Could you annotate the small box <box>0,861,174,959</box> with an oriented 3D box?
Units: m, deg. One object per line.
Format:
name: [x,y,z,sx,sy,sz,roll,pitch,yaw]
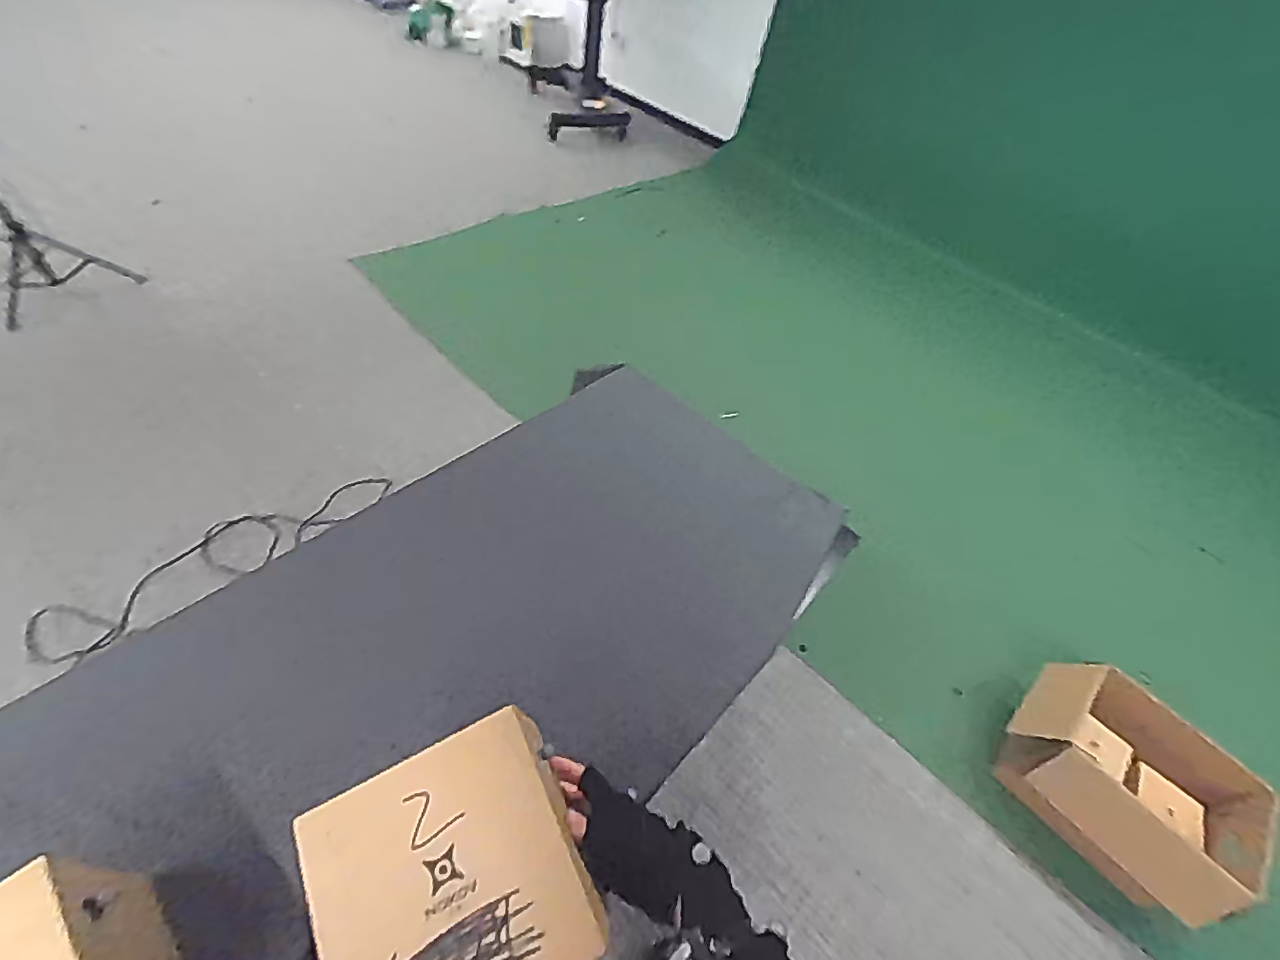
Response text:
small box: [-0.485,0.442,0.409,0.179,0.176,0.168,40,53,23]
